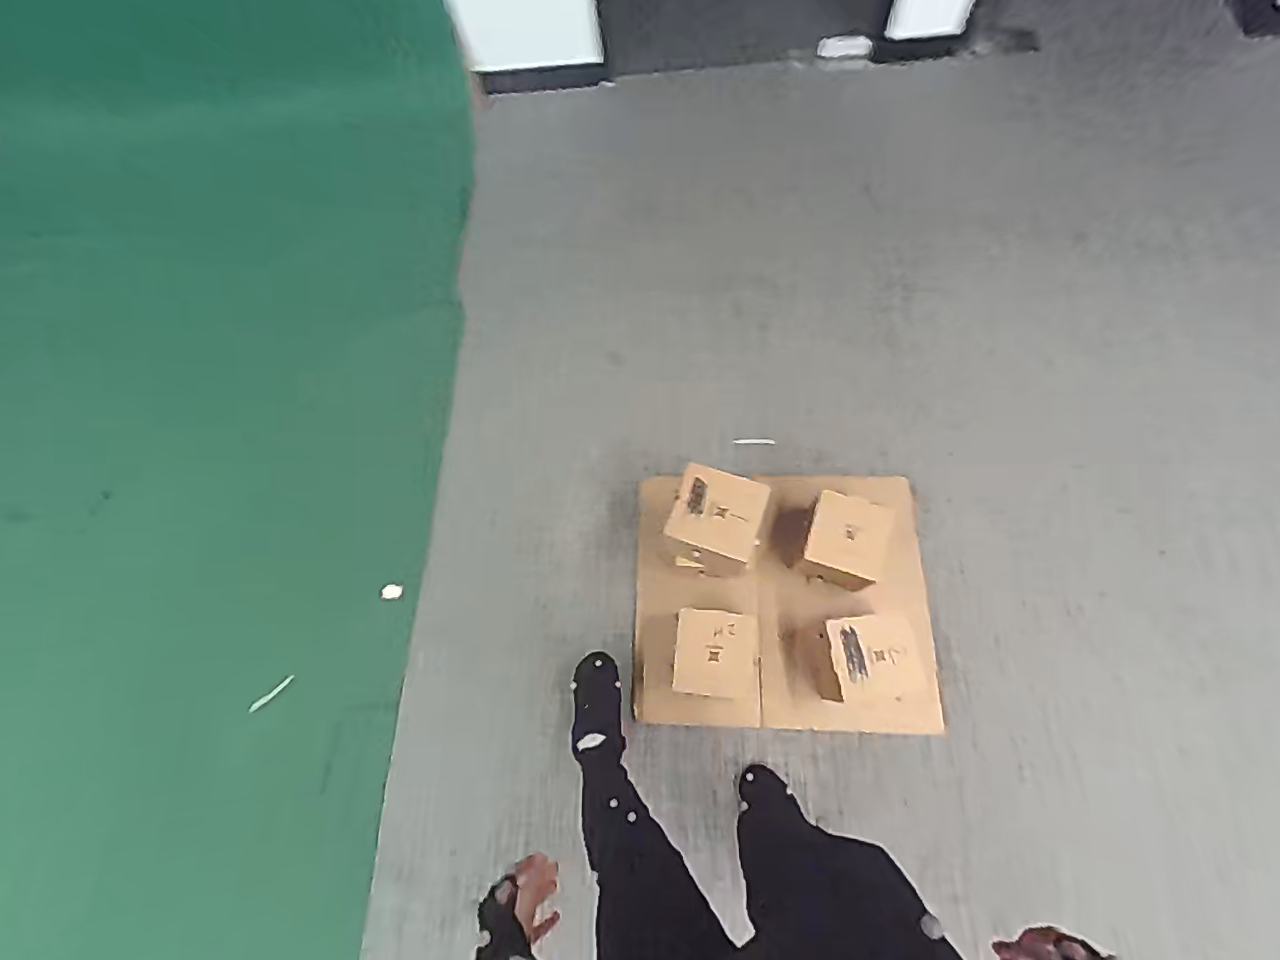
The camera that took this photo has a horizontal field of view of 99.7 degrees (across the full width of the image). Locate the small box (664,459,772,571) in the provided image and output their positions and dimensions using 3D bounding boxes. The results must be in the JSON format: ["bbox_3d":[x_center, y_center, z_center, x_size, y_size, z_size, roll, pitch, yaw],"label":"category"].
[{"bbox_3d":[0.161,0.082,1.145,0.179,0.176,0.168,19,73,10],"label":"small box"}]

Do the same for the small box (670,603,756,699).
[{"bbox_3d":[0.162,0.383,1.211,0.168,0.176,0.179,6,71,6],"label":"small box"}]

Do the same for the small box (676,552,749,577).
[{"bbox_3d":[0.175,0.134,1.301,0.168,0.176,0.179,2,70,5],"label":"small box"}]

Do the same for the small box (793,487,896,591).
[{"bbox_3d":[0.471,0.143,1.268,0.168,0.176,0.179,19,74,11],"label":"small box"}]
